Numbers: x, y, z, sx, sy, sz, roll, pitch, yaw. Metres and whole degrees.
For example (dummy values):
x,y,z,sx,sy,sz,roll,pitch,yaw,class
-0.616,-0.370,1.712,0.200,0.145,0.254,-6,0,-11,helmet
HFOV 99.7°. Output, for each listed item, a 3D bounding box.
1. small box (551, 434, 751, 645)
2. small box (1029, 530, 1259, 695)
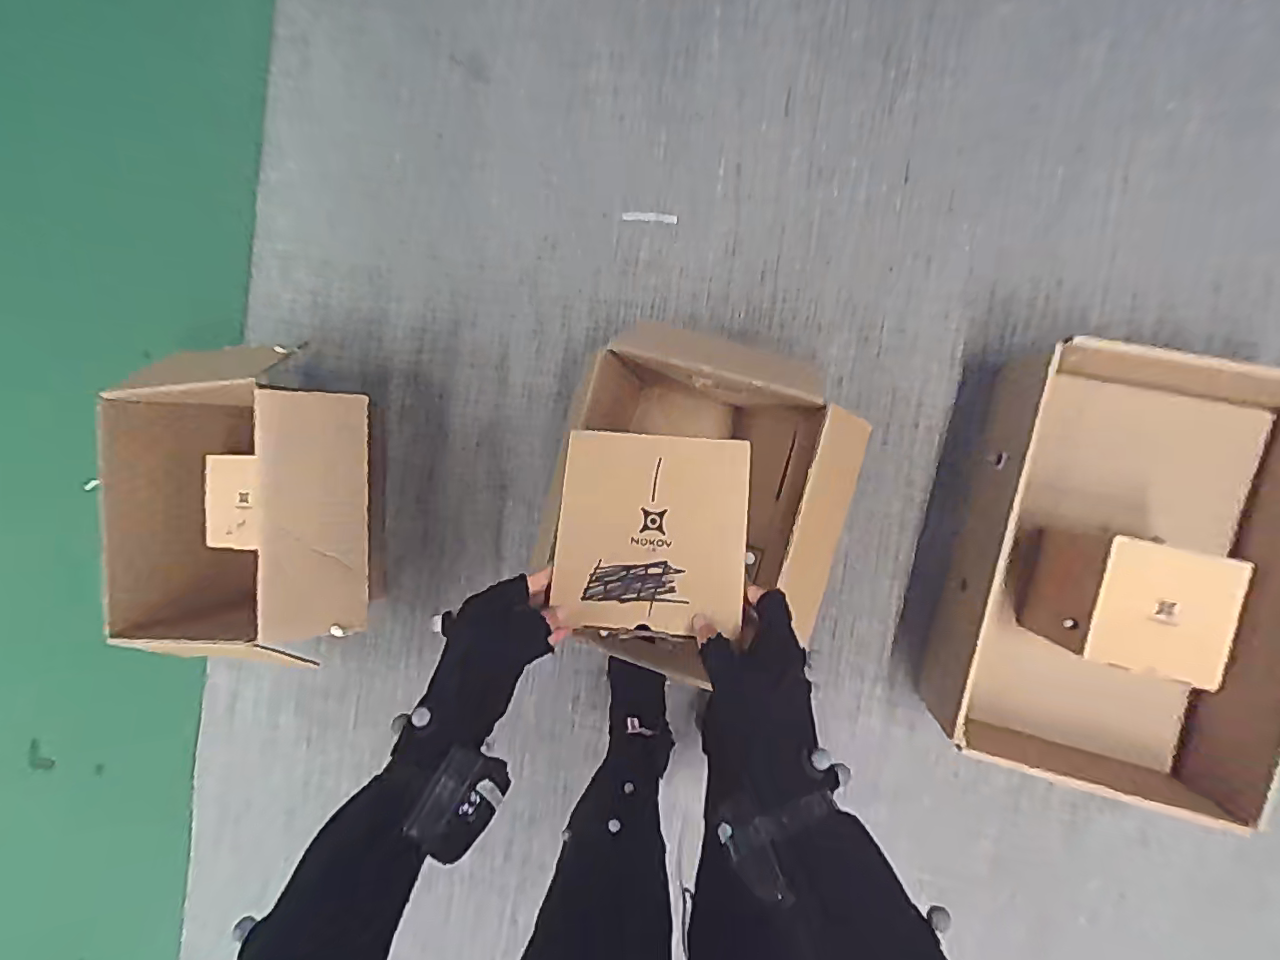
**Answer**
x,y,z,sx,sy,sz,roll,pitch,yaw,class
0.018,0.064,0.557,0.168,0.176,0.179,5,78,6,small box
0.707,0.176,0.783,0.168,0.176,0.179,12,92,10,small box
